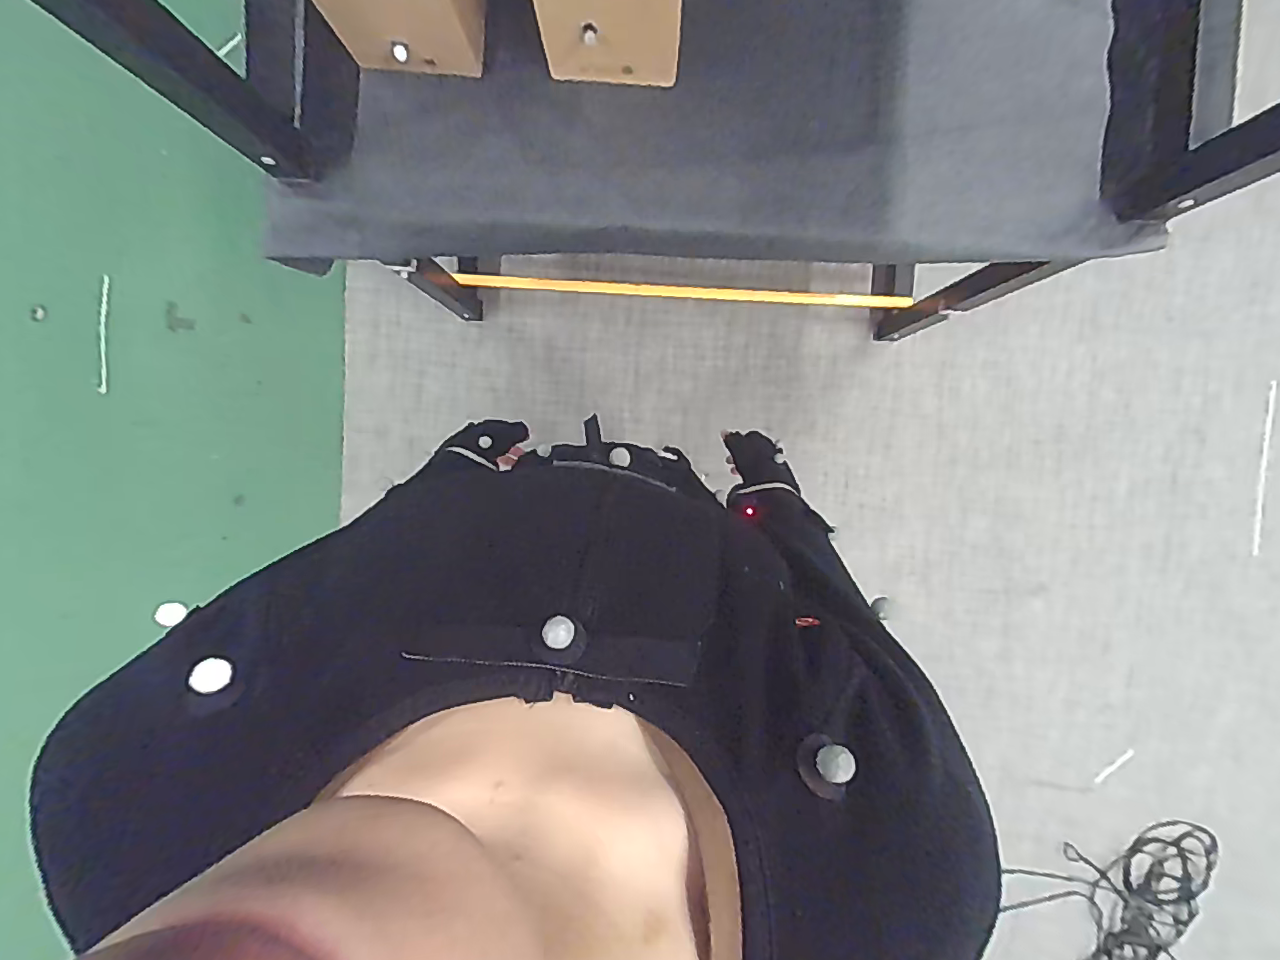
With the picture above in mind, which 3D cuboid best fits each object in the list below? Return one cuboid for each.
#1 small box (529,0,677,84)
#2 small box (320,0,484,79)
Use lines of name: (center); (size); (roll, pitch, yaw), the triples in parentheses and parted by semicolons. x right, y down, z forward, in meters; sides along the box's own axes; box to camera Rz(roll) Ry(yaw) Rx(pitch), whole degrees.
small box: (-0.036, -0.612, 0.641); (0.168, 0.176, 0.179); (3, 93, 0)
small box: (-0.289, -0.625, 0.637); (0.168, 0.176, 0.179); (4, 94, 0)
